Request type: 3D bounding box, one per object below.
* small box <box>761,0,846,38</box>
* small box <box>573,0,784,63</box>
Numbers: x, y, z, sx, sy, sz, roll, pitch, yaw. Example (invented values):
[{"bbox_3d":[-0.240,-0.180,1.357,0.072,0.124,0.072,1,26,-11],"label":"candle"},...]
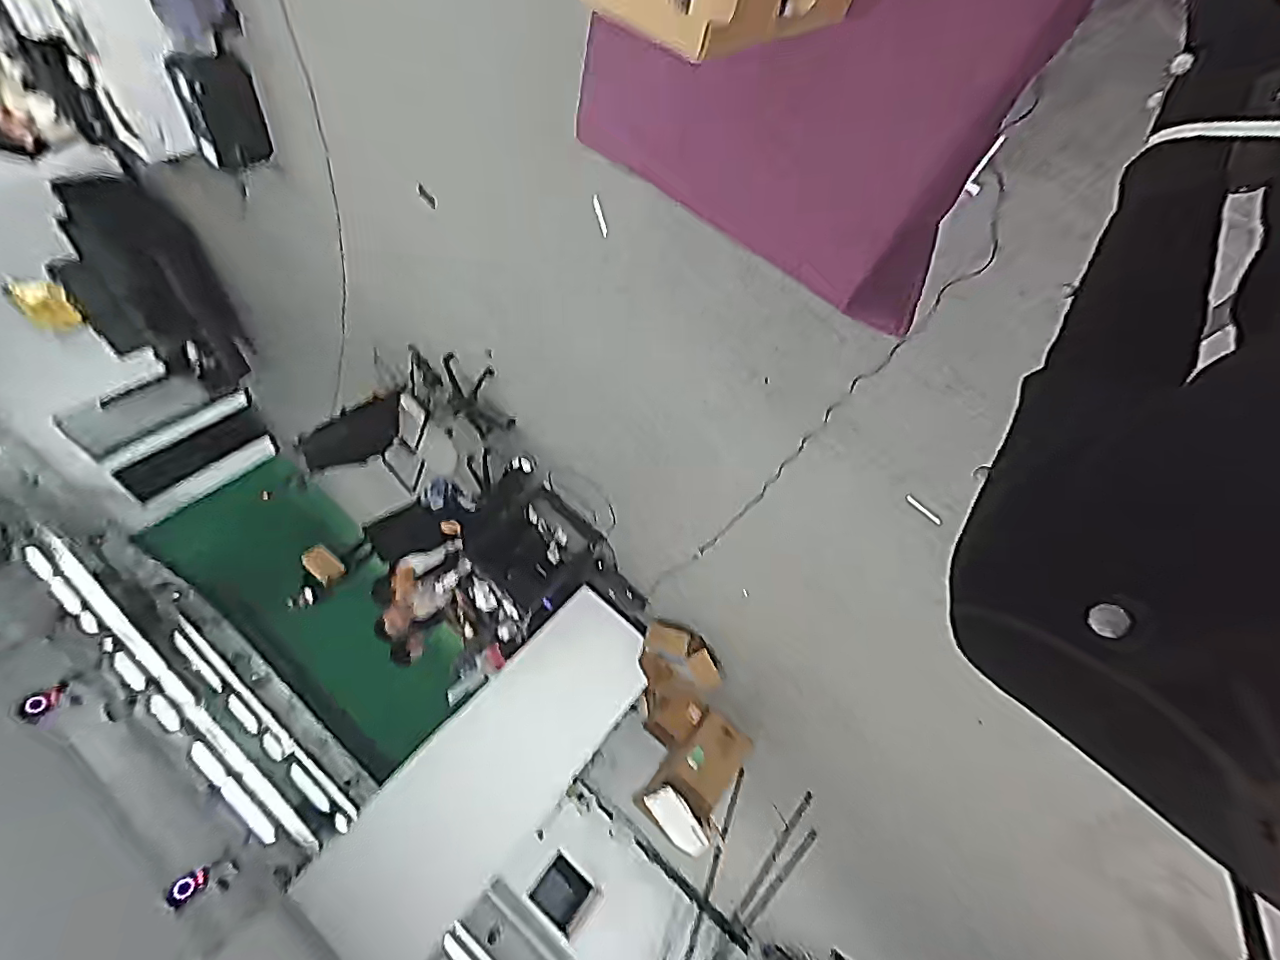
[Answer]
[{"bbox_3d":[0.152,-0.624,0.586,0.179,0.176,0.168,40,147,10],"label":"small box"},{"bbox_3d":[0.051,-0.528,0.499,0.179,0.176,0.168,38,146,14],"label":"small box"}]
